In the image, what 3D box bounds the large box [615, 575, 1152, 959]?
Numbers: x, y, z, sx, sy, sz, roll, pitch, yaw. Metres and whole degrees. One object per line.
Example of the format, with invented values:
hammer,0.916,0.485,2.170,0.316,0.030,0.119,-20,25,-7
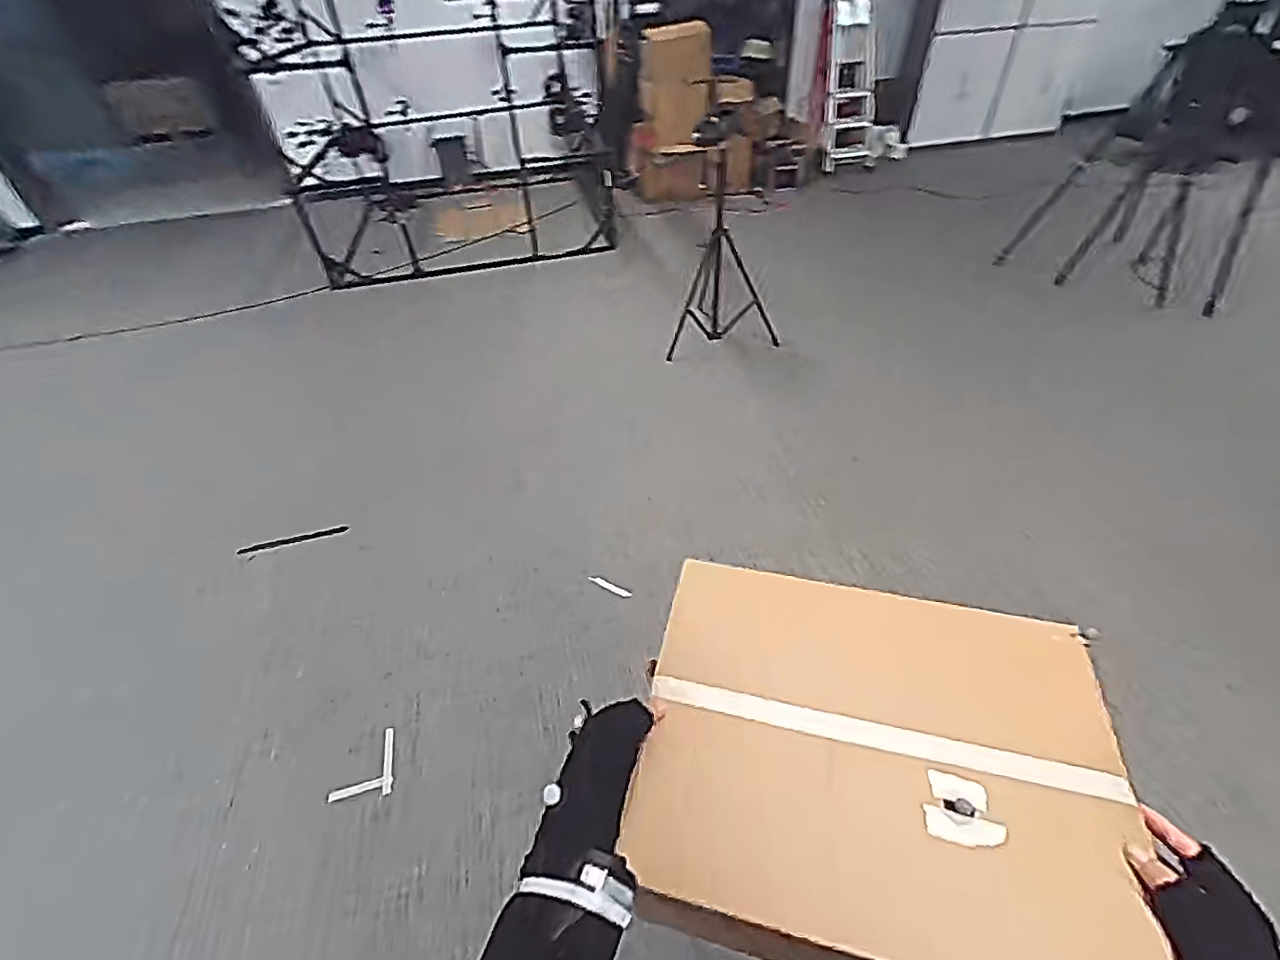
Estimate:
large box,0.209,0.344,0.612,0.408,0.320,0.320,7,48,11
